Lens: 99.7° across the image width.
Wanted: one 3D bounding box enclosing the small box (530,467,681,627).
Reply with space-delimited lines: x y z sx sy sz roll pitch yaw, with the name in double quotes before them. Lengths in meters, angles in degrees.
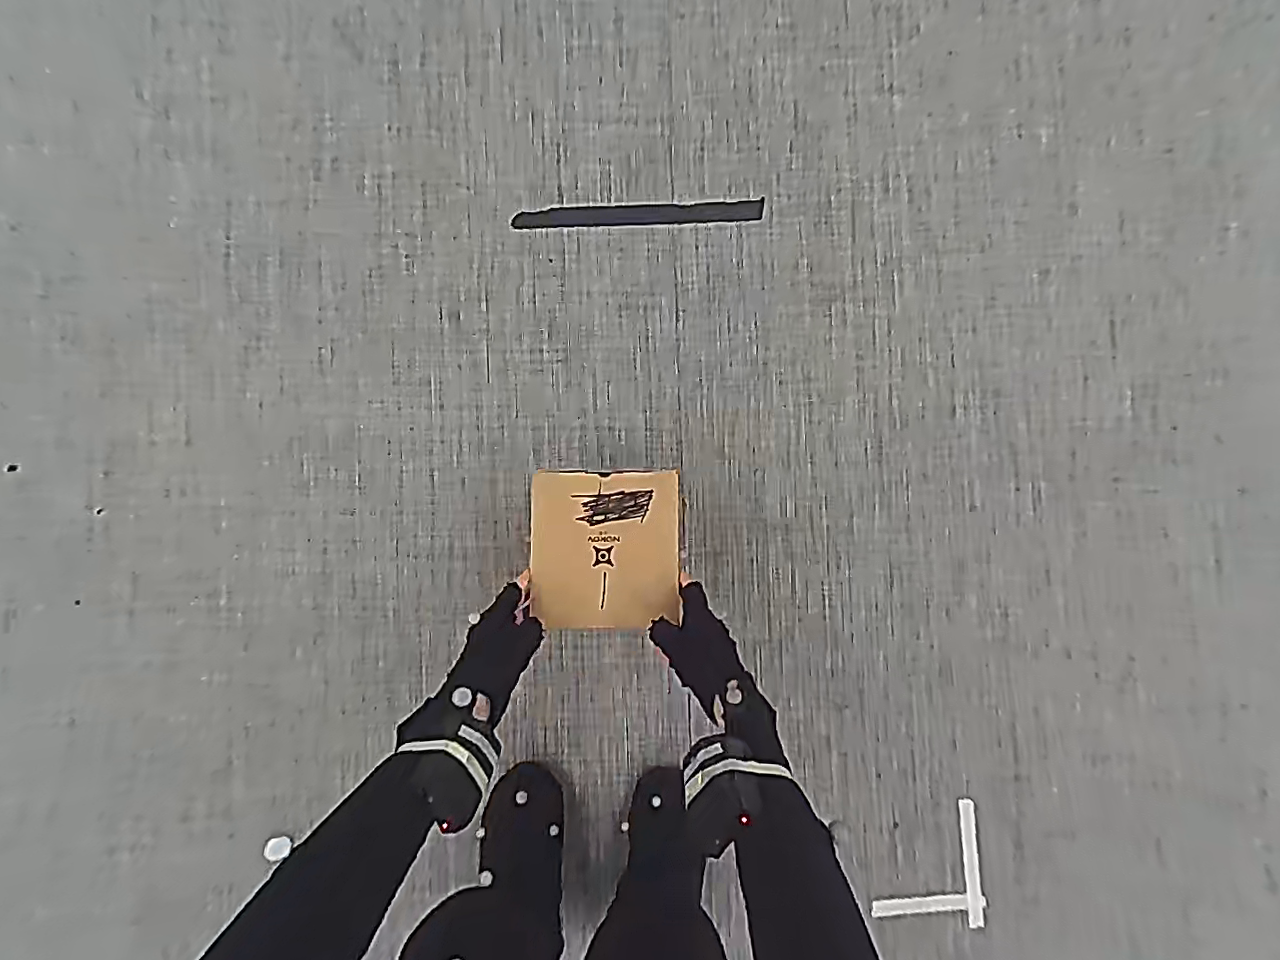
"small box" -0.039 0.082 0.674 0.168 0.176 0.179 -1 84 0
